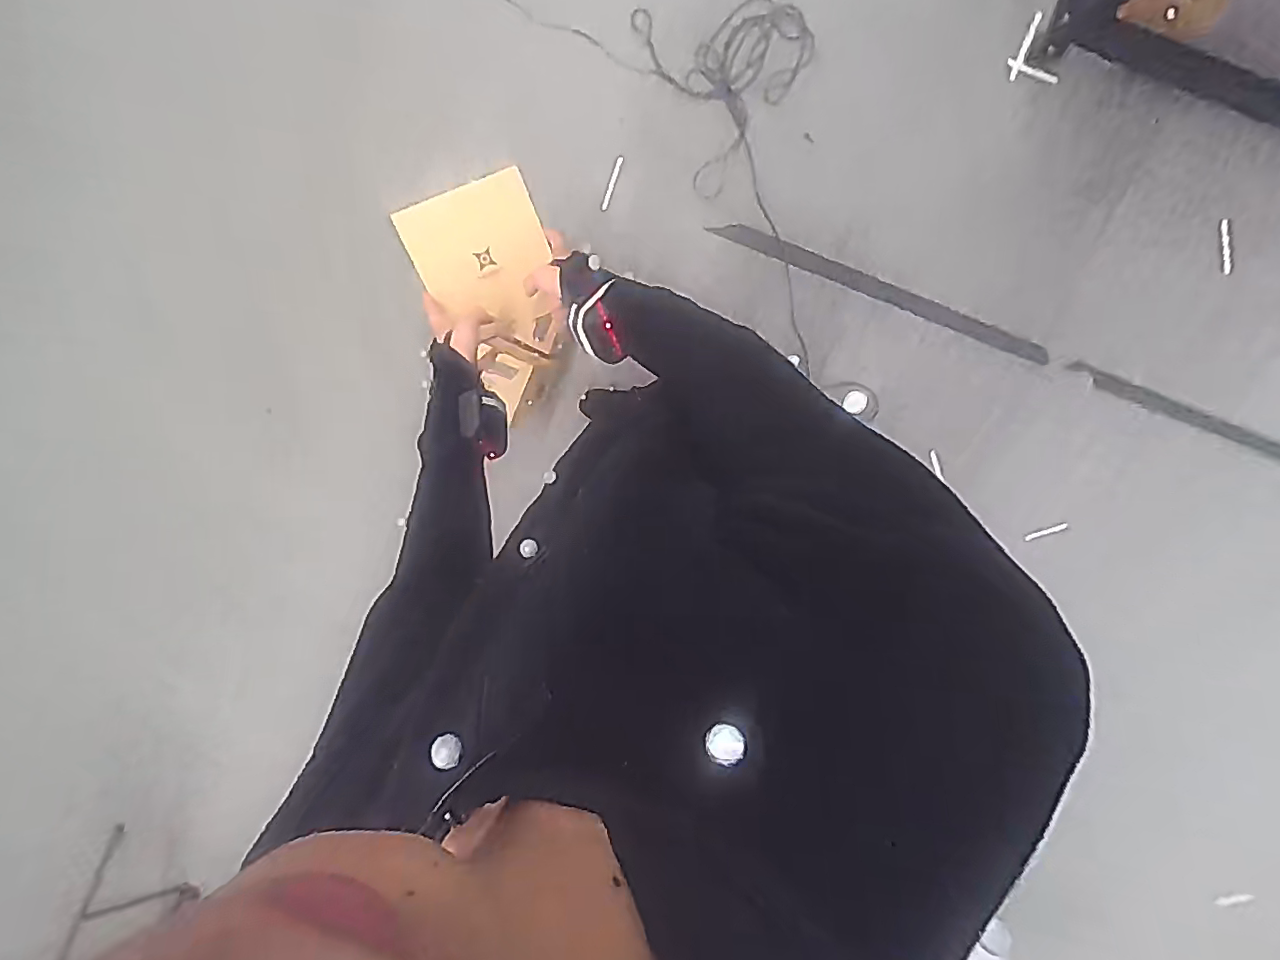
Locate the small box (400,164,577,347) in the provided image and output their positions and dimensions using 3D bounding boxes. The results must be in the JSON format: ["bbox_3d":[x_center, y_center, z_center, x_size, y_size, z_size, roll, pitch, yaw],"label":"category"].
[{"bbox_3d":[-0.201,-0.303,0.747,0.168,0.176,0.179,-22,115,-3],"label":"small box"}]

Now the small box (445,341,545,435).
[{"bbox_3d":[-0.345,-0.232,1.324,0.168,0.176,0.179,25,104,-3],"label":"small box"}]
